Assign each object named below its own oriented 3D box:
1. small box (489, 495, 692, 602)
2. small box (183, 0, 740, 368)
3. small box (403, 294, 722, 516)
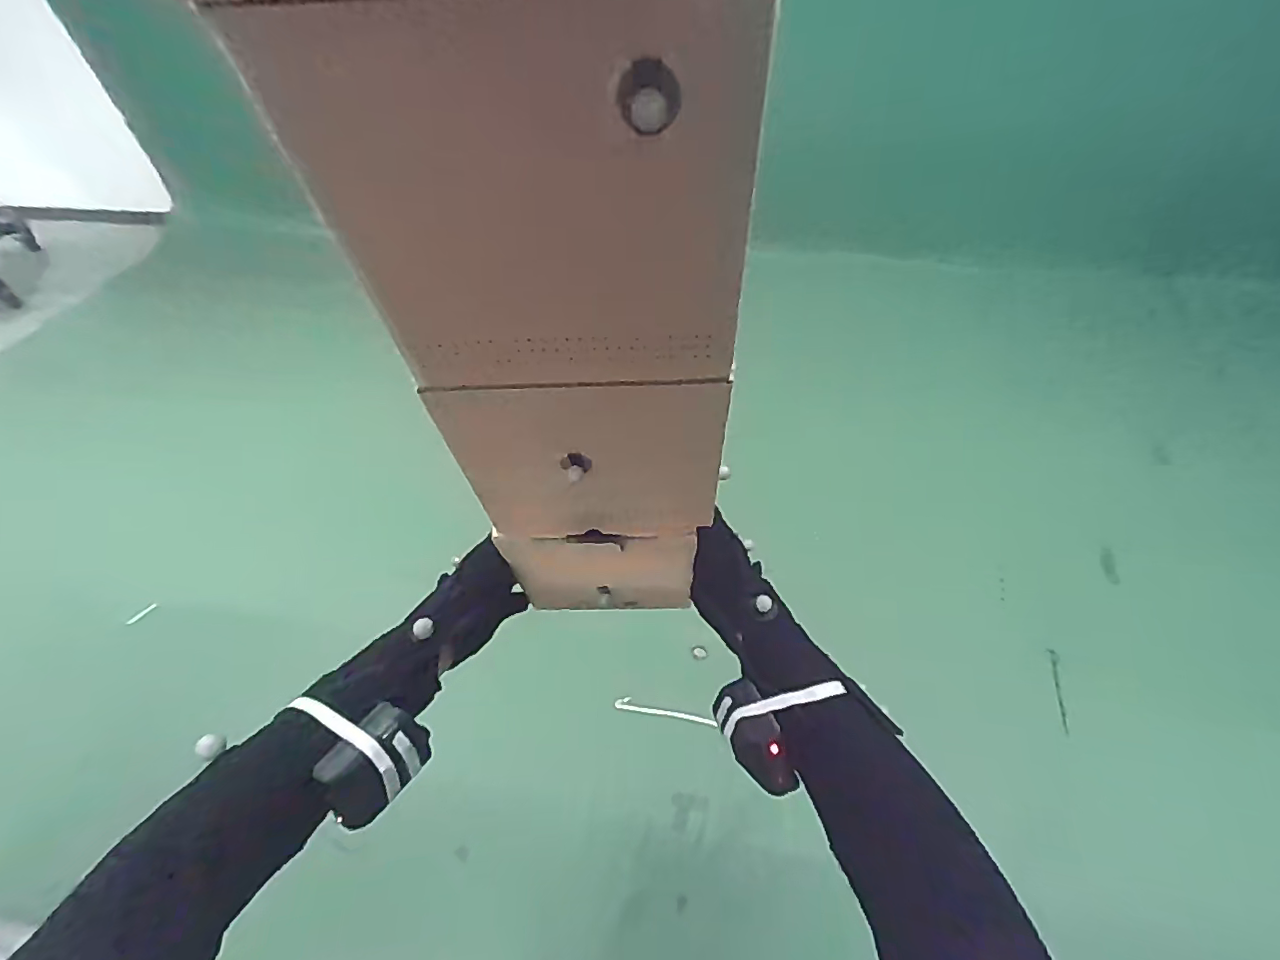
[{"bbox_3d":[-0.035,0.008,0.539,0.168,0.176,0.179,-1,58,3],"label":"small box"},{"bbox_3d":[-0.049,-0.170,0.266,0.179,0.176,0.168,-2,57,2],"label":"small box"},{"bbox_3d":[-0.037,-0.084,0.400,0.179,0.176,0.168,1,56,4],"label":"small box"}]
